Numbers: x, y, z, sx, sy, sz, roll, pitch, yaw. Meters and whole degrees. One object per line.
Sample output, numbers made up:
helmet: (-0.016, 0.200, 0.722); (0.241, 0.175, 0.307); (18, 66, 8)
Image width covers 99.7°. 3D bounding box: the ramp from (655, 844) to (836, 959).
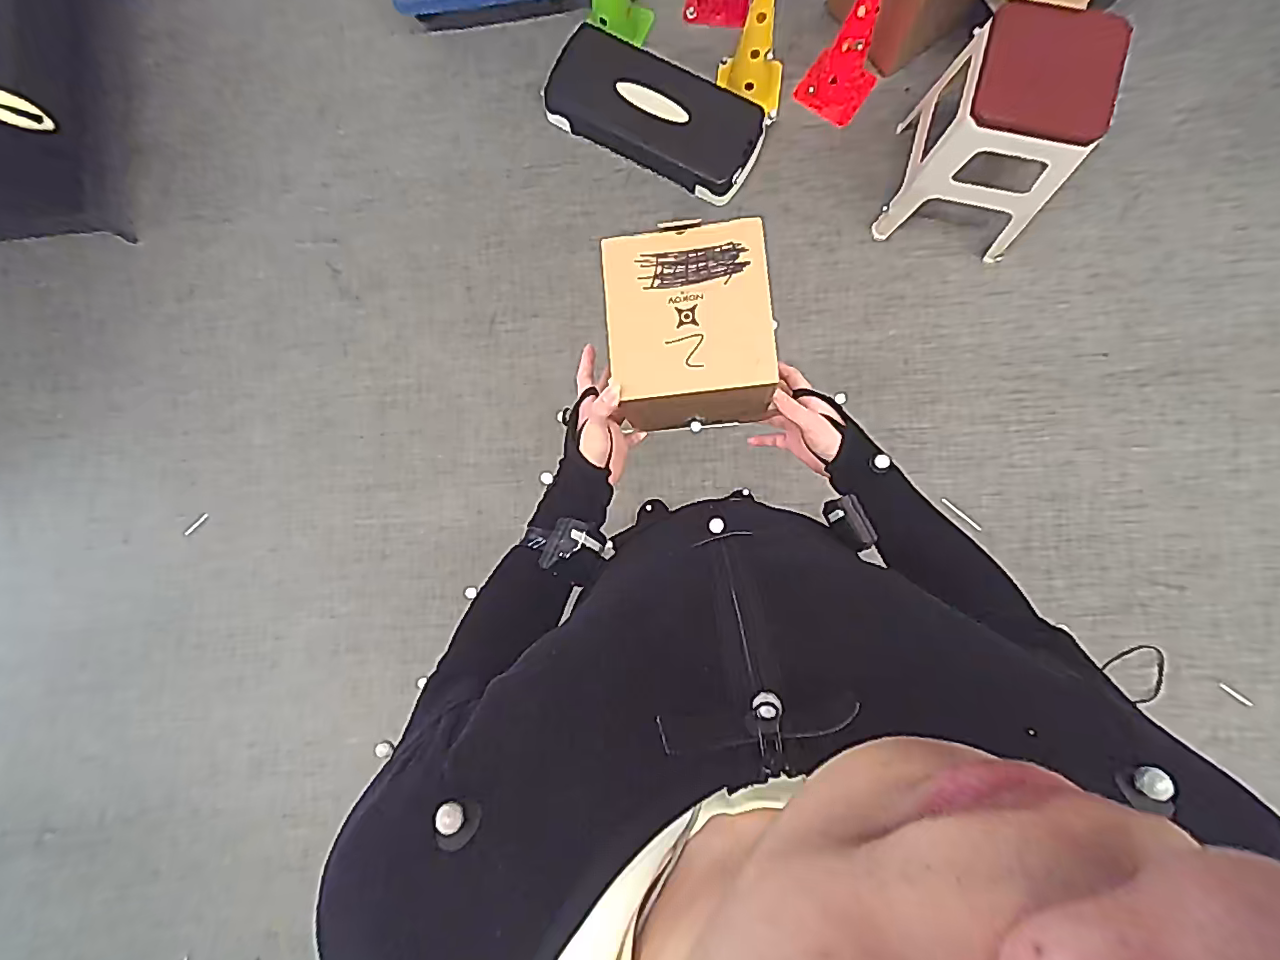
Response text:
ramp: (0.310, 1.552, 1.461); (0.509, 0.206, 0.991); (-6, 86, 5)
